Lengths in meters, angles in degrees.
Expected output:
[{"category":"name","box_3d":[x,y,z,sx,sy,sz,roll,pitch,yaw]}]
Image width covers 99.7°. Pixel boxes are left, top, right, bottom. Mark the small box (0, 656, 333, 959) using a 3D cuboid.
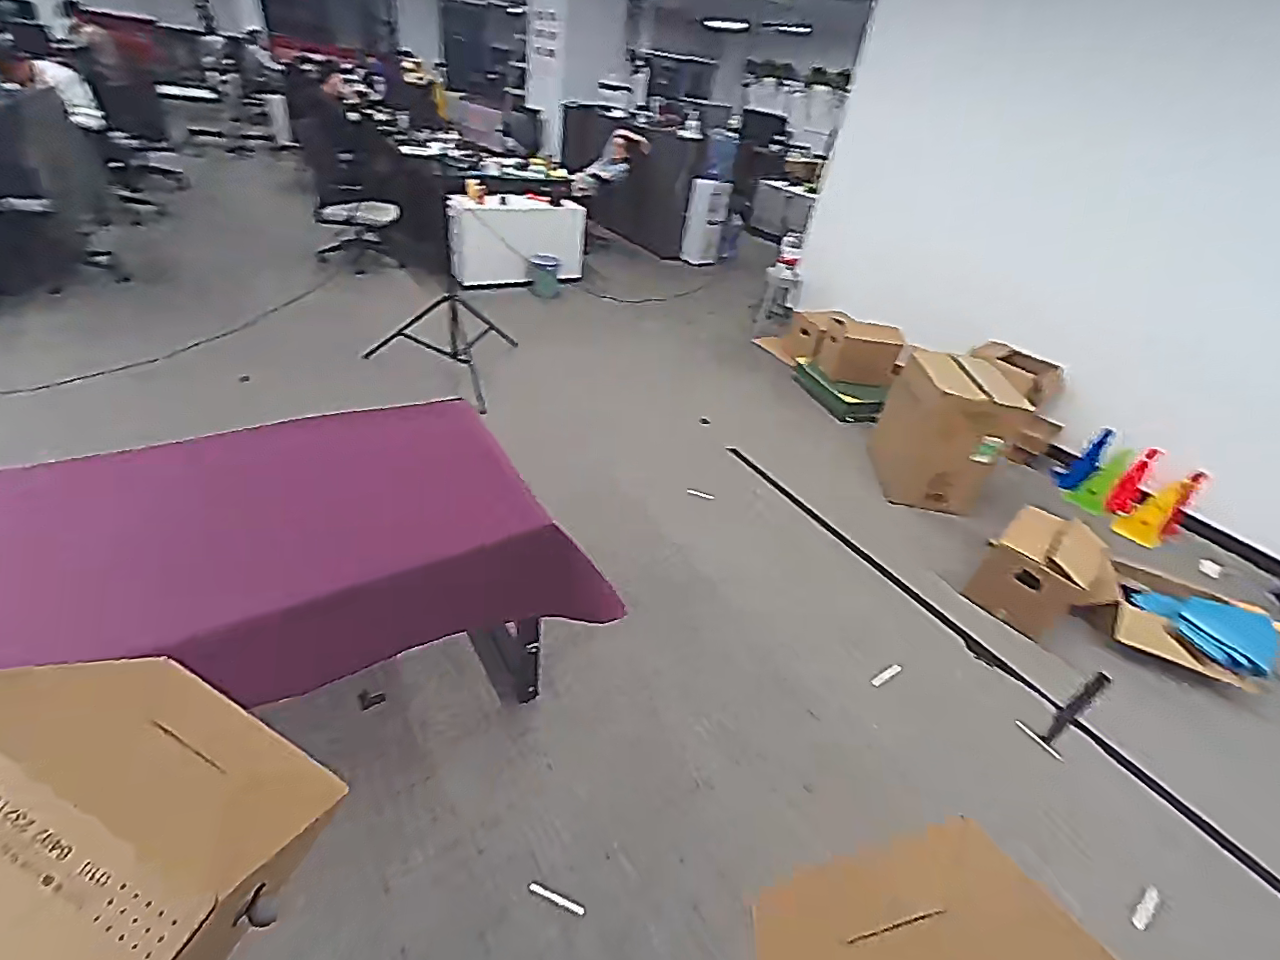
[{"category":"small box","box_3d":[-0.301,0.205,0.272,0.168,0.179,0.176,35,70,0]}]
